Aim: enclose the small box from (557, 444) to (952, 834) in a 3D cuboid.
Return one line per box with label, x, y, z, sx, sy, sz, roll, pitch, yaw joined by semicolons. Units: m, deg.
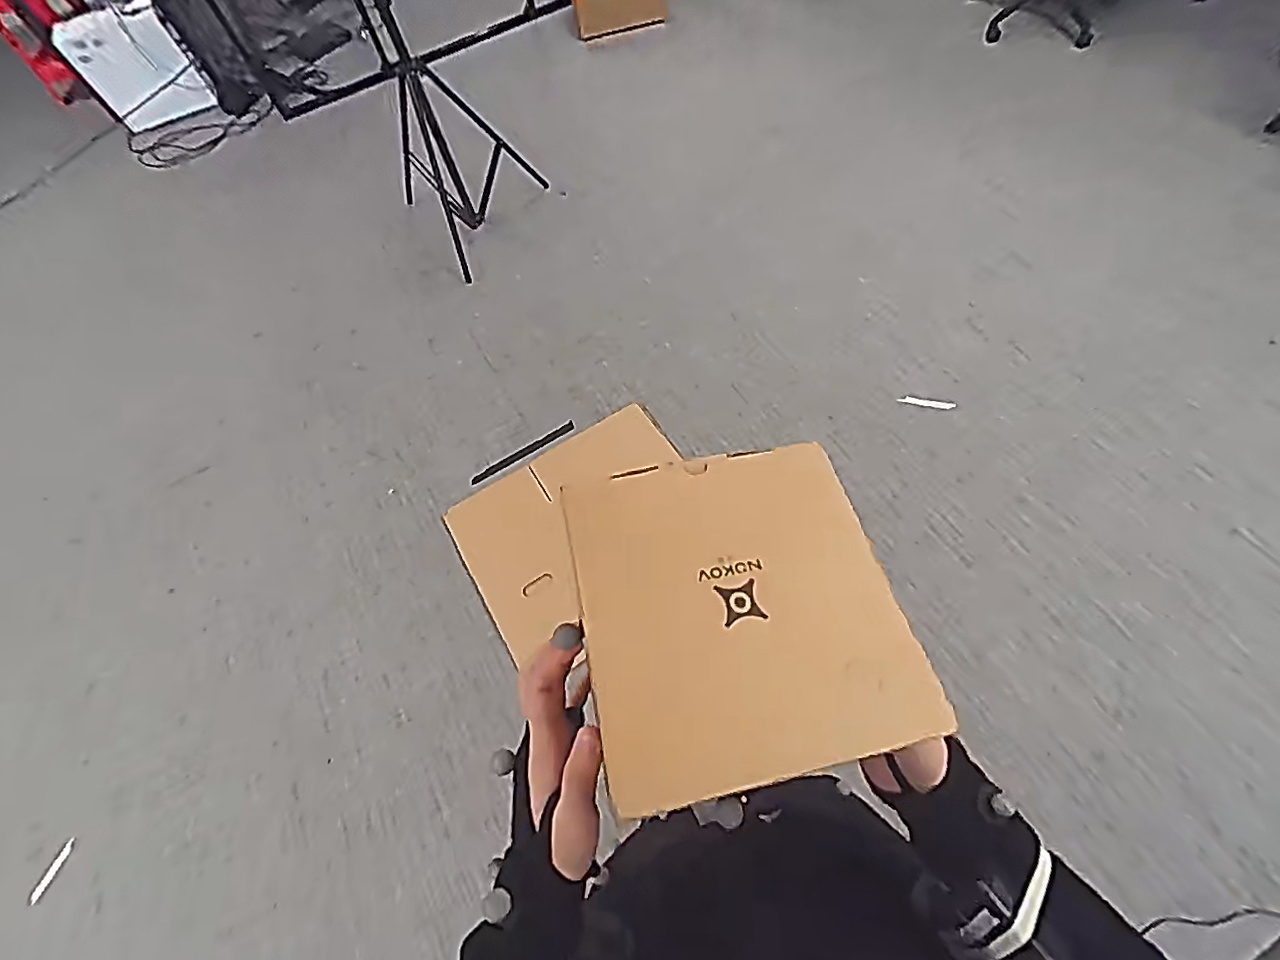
small box;0.047;0.106;0.349;0.168;0.176;0.179;-10;58;-8
